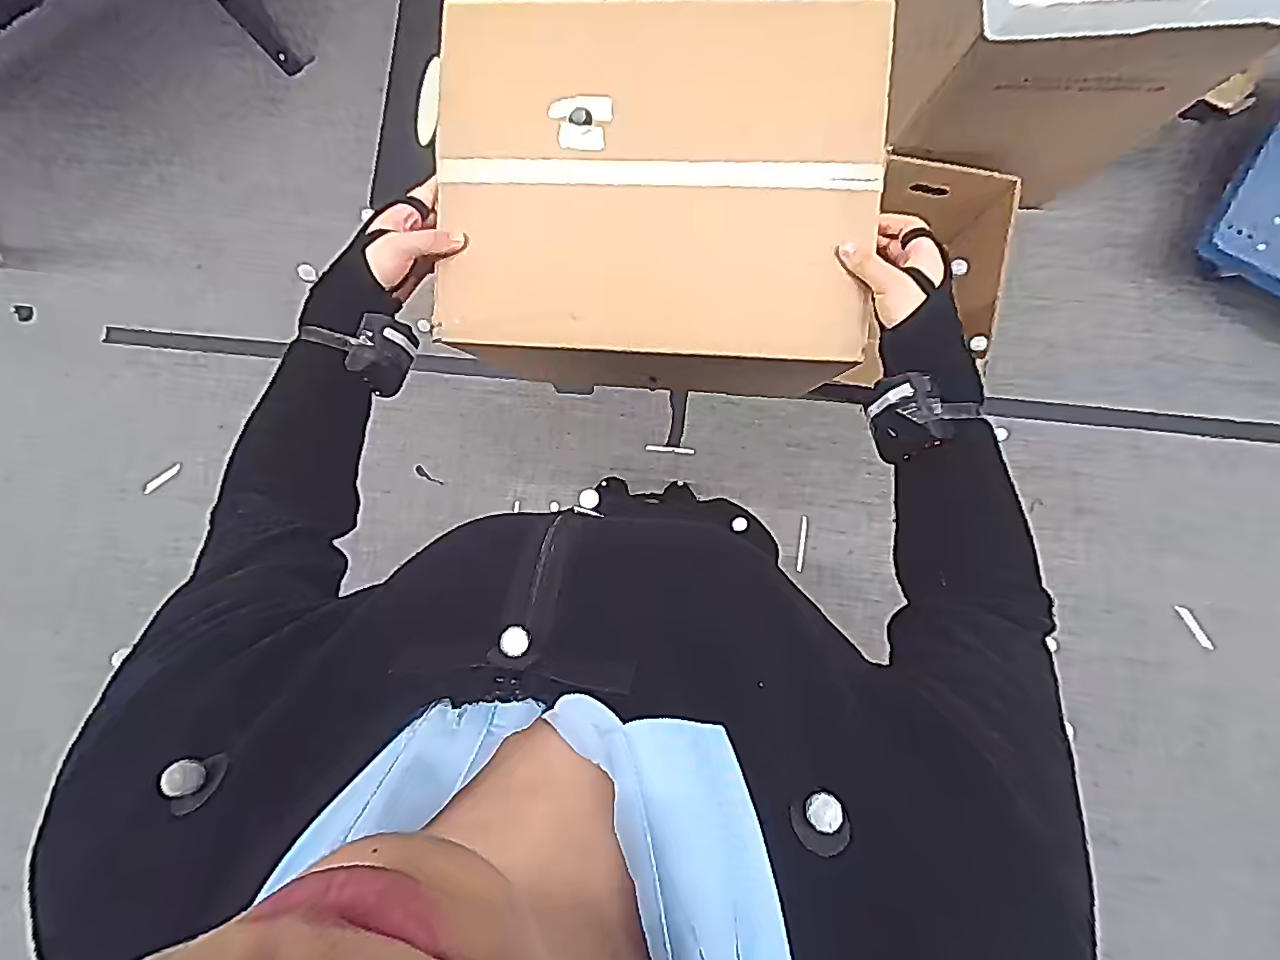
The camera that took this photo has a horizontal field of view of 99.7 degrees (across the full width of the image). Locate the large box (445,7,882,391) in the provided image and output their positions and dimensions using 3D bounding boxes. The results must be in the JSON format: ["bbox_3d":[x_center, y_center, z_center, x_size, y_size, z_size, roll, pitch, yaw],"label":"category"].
[{"bbox_3d":[0.030,-0.281,0.651,0.408,0.320,0.320,4,92,6],"label":"large box"}]
